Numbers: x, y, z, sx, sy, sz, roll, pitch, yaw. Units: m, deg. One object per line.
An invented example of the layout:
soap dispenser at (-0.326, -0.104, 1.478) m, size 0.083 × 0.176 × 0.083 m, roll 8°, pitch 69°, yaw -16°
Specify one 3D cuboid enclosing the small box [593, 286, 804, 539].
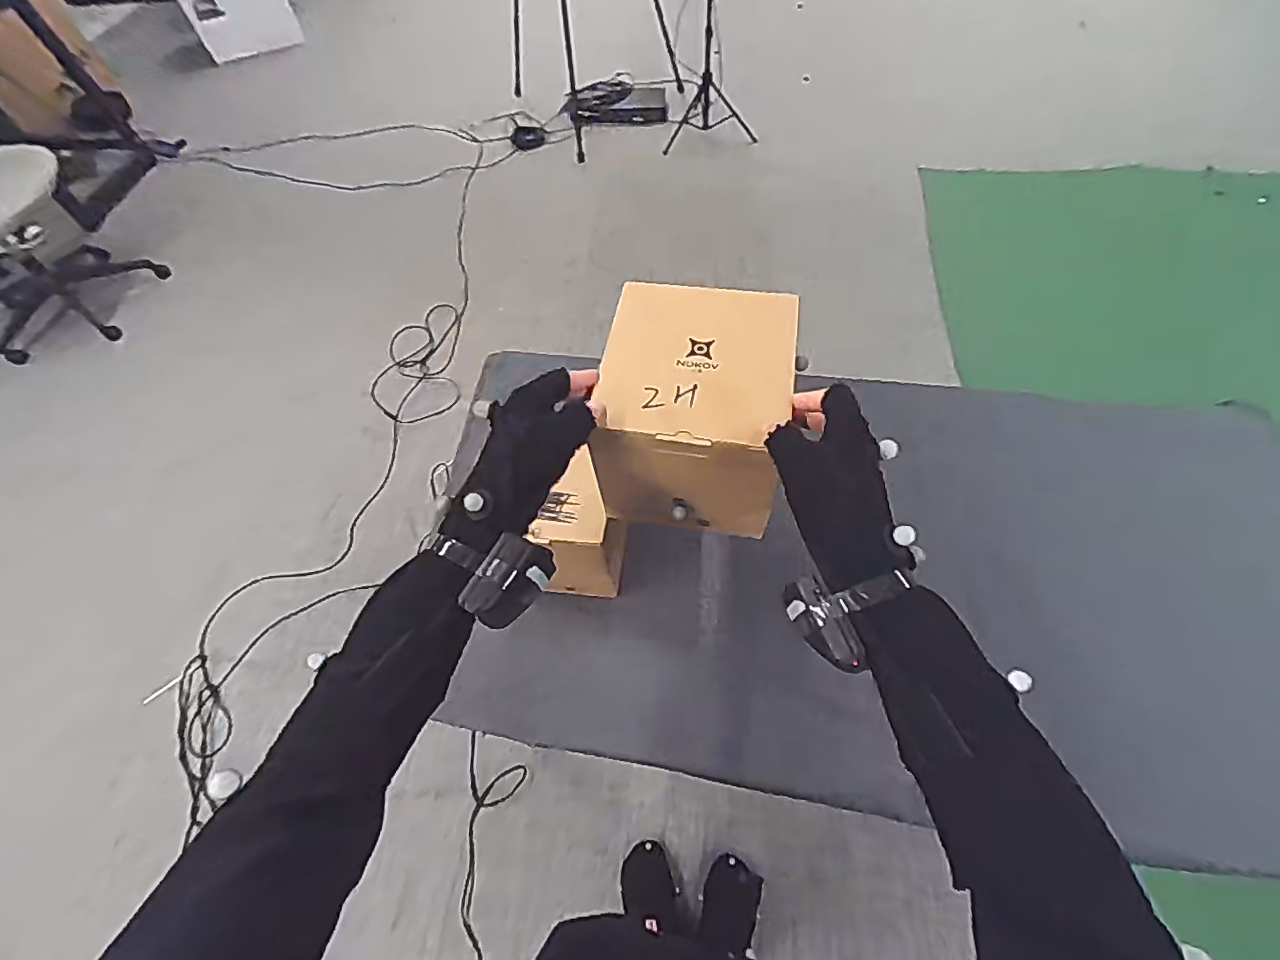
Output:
small box at (0.060, -0.062, 0.539) m, size 0.168 × 0.176 × 0.179 m, roll 8°, pitch 62°, yaw 9°
